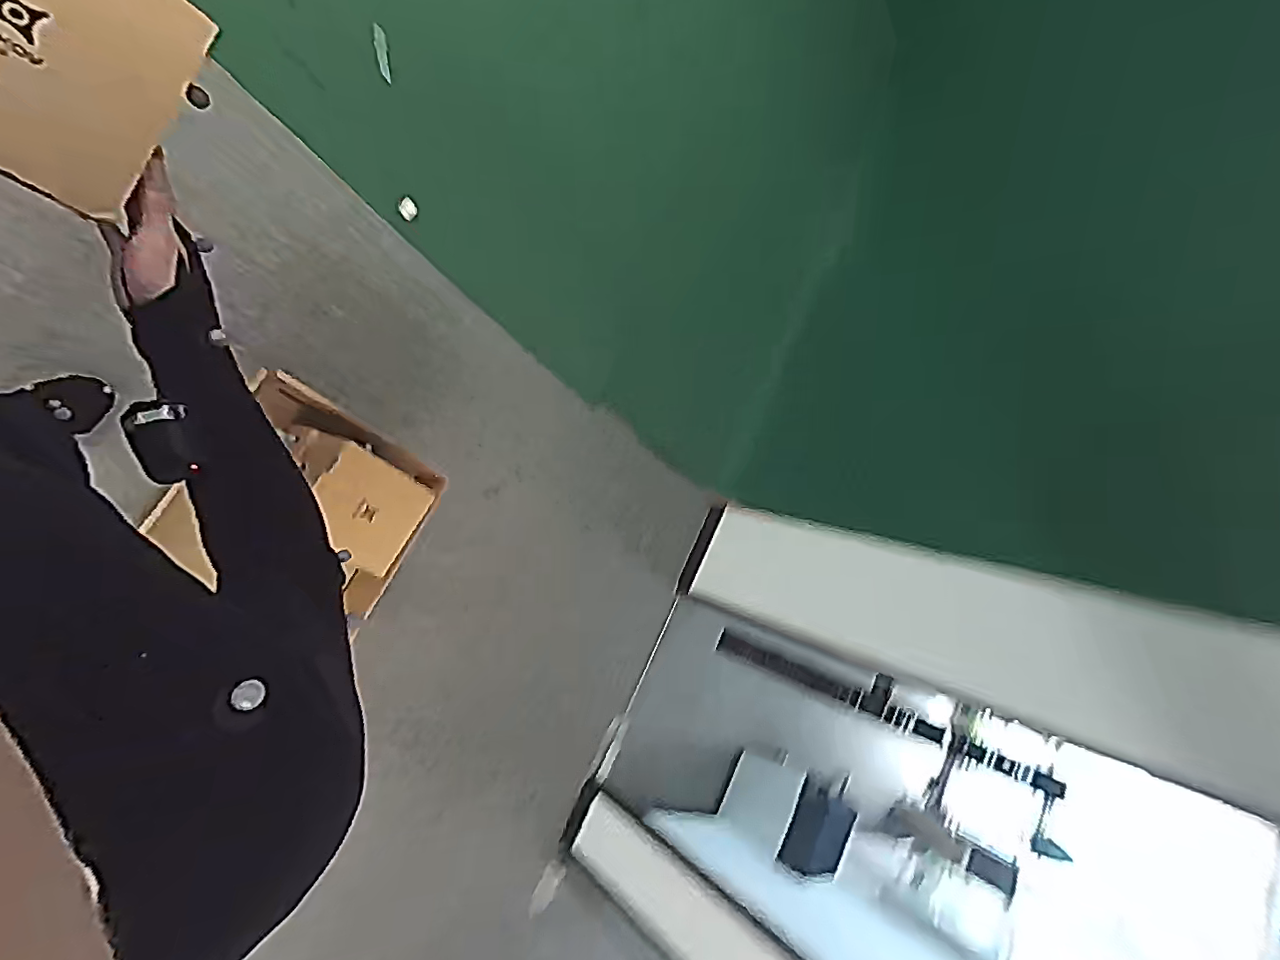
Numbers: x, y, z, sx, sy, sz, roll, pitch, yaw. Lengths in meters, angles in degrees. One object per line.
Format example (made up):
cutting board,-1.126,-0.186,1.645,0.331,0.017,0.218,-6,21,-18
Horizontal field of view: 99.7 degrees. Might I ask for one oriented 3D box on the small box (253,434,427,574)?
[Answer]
small box,-0.515,0.034,0.931,0.179,0.176,0.168,45,67,-42
